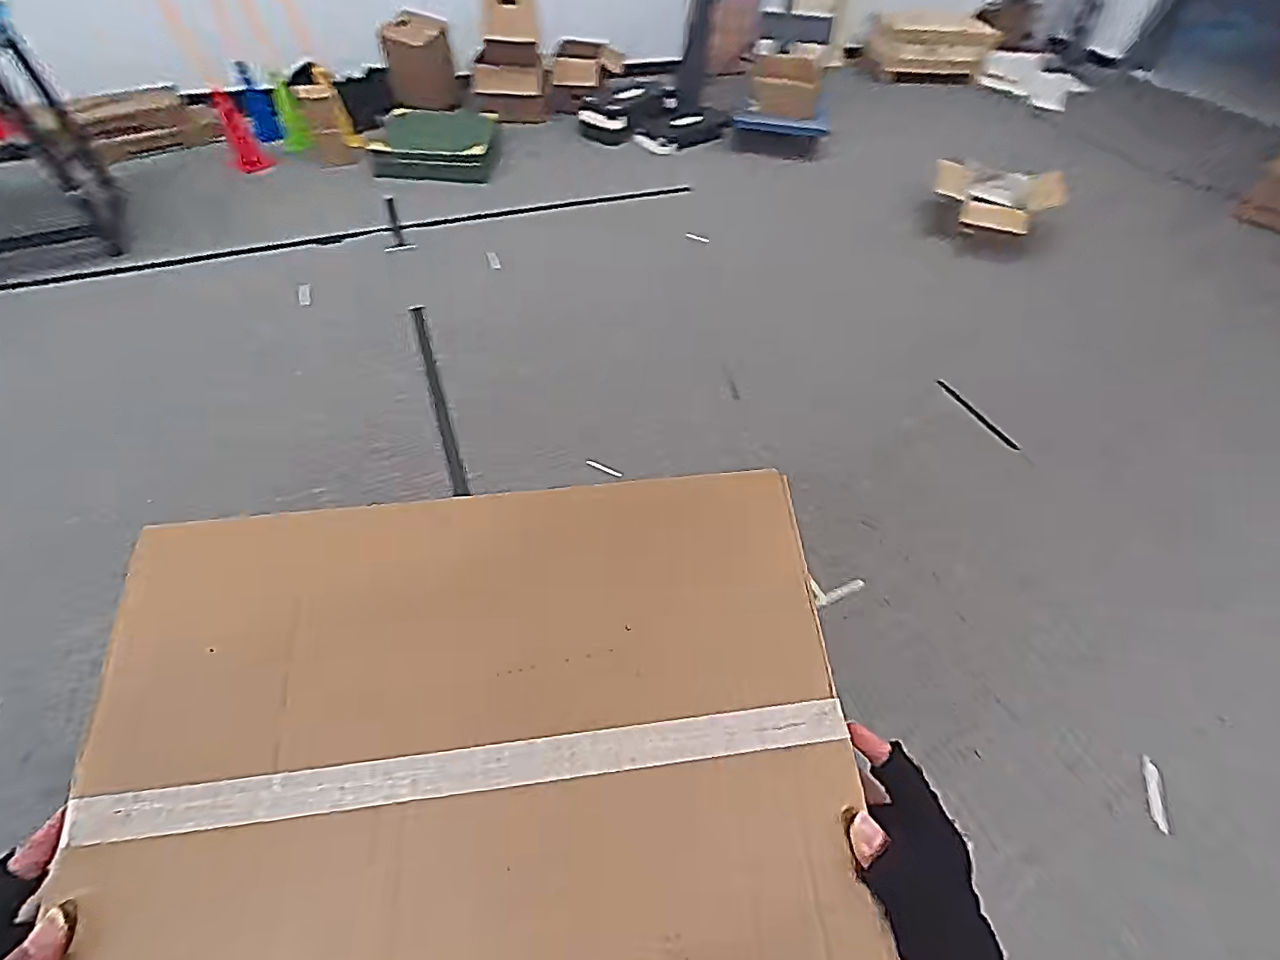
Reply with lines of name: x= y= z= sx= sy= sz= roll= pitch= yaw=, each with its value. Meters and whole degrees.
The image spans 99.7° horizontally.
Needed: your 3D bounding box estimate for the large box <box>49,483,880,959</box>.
large box: x=-0.095 y=0.222 z=0.434 sx=0.408 sy=0.320 sz=0.320 roll=-6 pitch=66 yaw=-5
